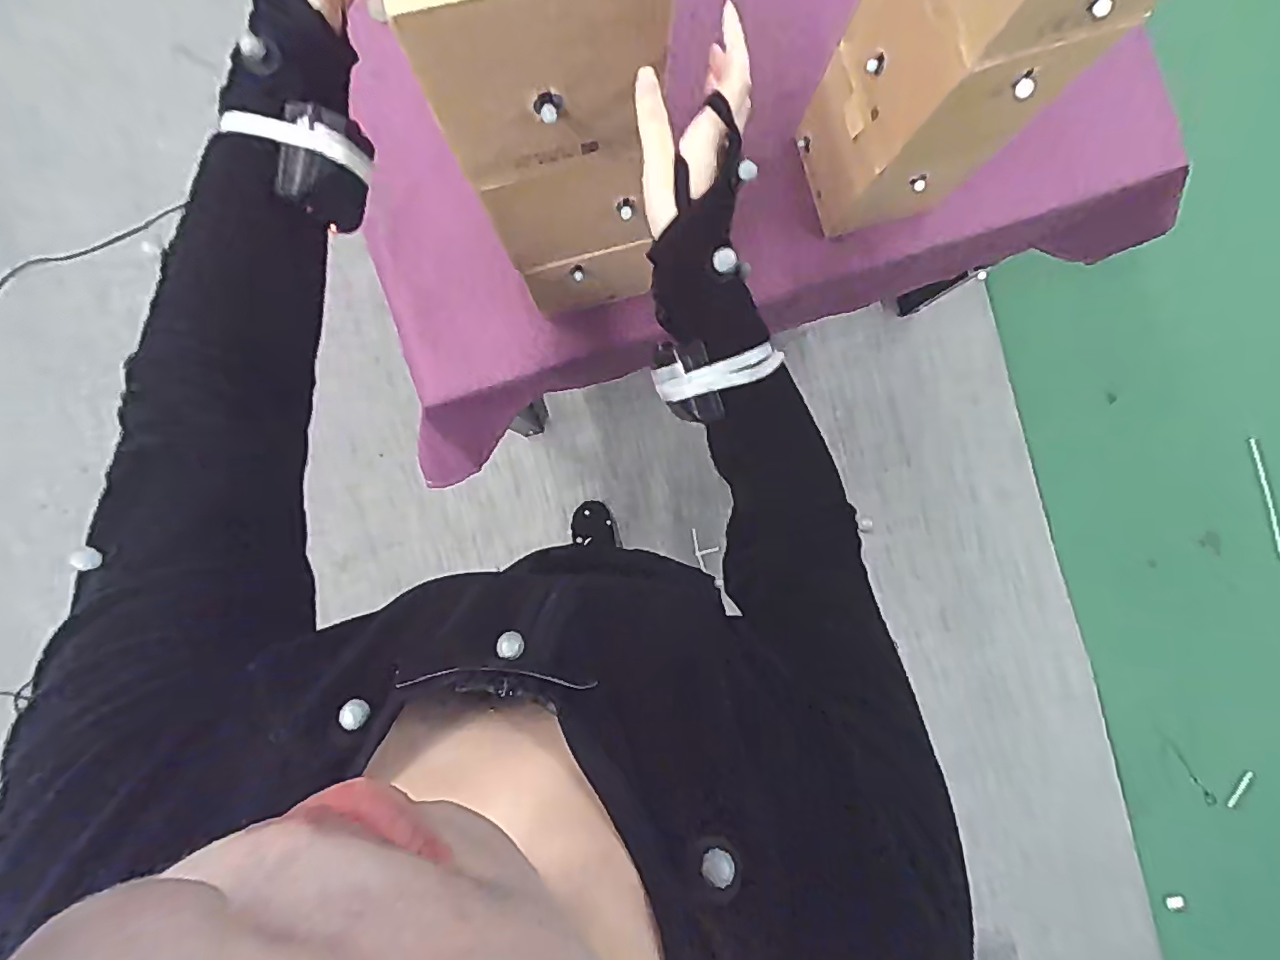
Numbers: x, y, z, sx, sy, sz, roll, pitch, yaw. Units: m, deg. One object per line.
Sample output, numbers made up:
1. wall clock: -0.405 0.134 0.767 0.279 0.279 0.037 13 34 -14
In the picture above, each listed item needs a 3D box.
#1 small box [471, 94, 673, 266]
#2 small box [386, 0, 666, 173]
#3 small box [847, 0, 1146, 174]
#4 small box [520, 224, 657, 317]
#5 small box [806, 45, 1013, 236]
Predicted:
1. small box: -0.076 -0.342 0.546 0.179 0.176 0.168 -14 89 -1
2. small box: -0.078 -0.348 0.381 0.168 0.176 0.179 -13 89 -3
3. small box: 0.348 -0.458 0.561 0.179 0.176 0.168 -16 90 -1
4. small box: -0.081 -0.339 0.709 0.168 0.176 0.179 -15 89 -1
5. small box: 0.340 -0.455 0.723 0.179 0.176 0.168 -16 90 -2
